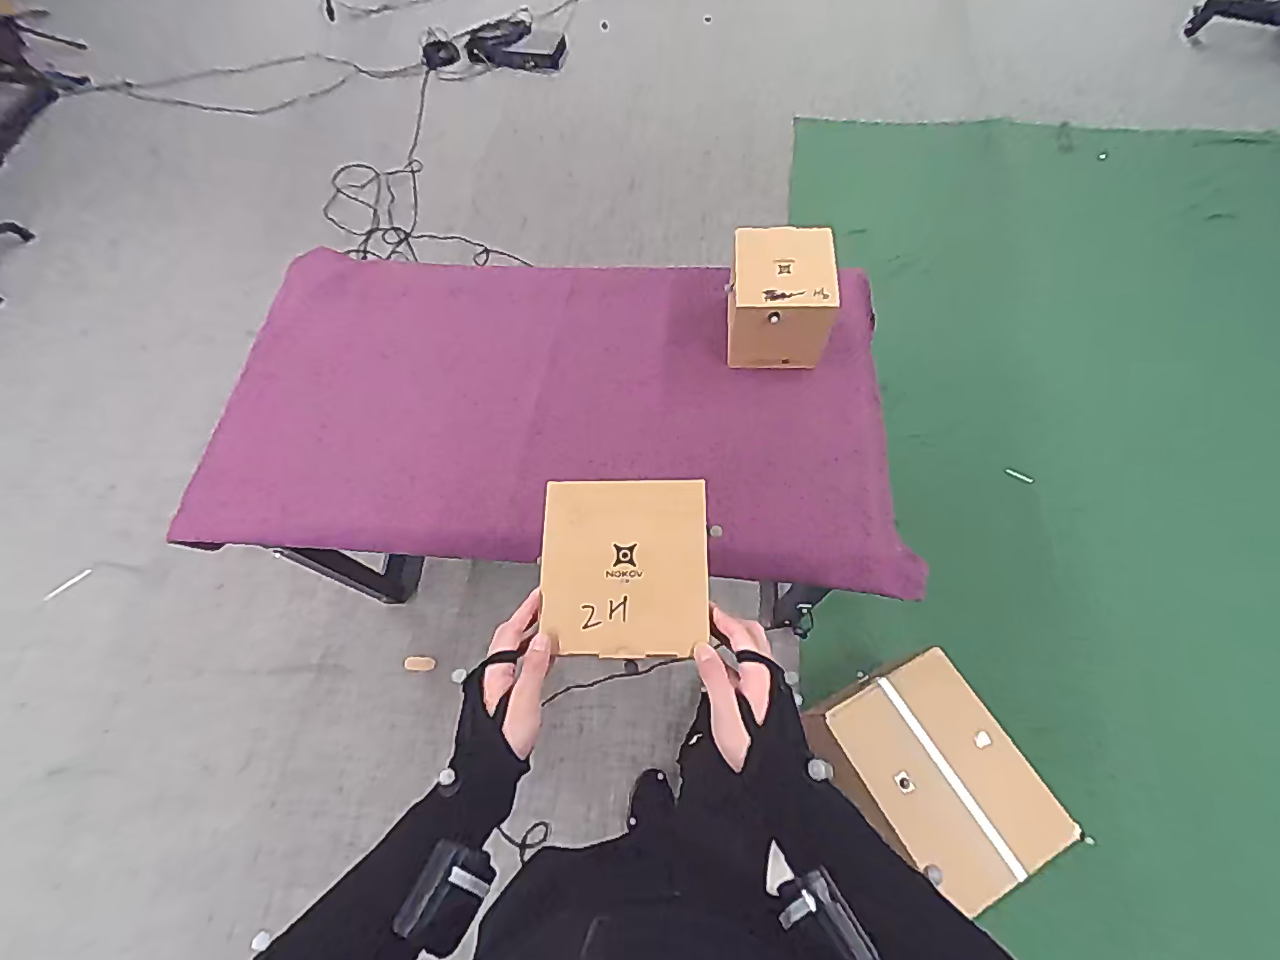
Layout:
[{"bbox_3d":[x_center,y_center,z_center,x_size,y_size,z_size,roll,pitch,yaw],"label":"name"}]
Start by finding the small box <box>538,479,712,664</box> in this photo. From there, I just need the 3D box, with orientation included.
[{"bbox_3d":[-0.007,0.109,0.606,0.168,0.176,0.179,-1,70,5],"label":"small box"}]

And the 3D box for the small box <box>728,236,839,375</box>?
[{"bbox_3d":[0.248,-0.311,0.976,0.168,0.176,0.179,2,65,6],"label":"small box"}]
